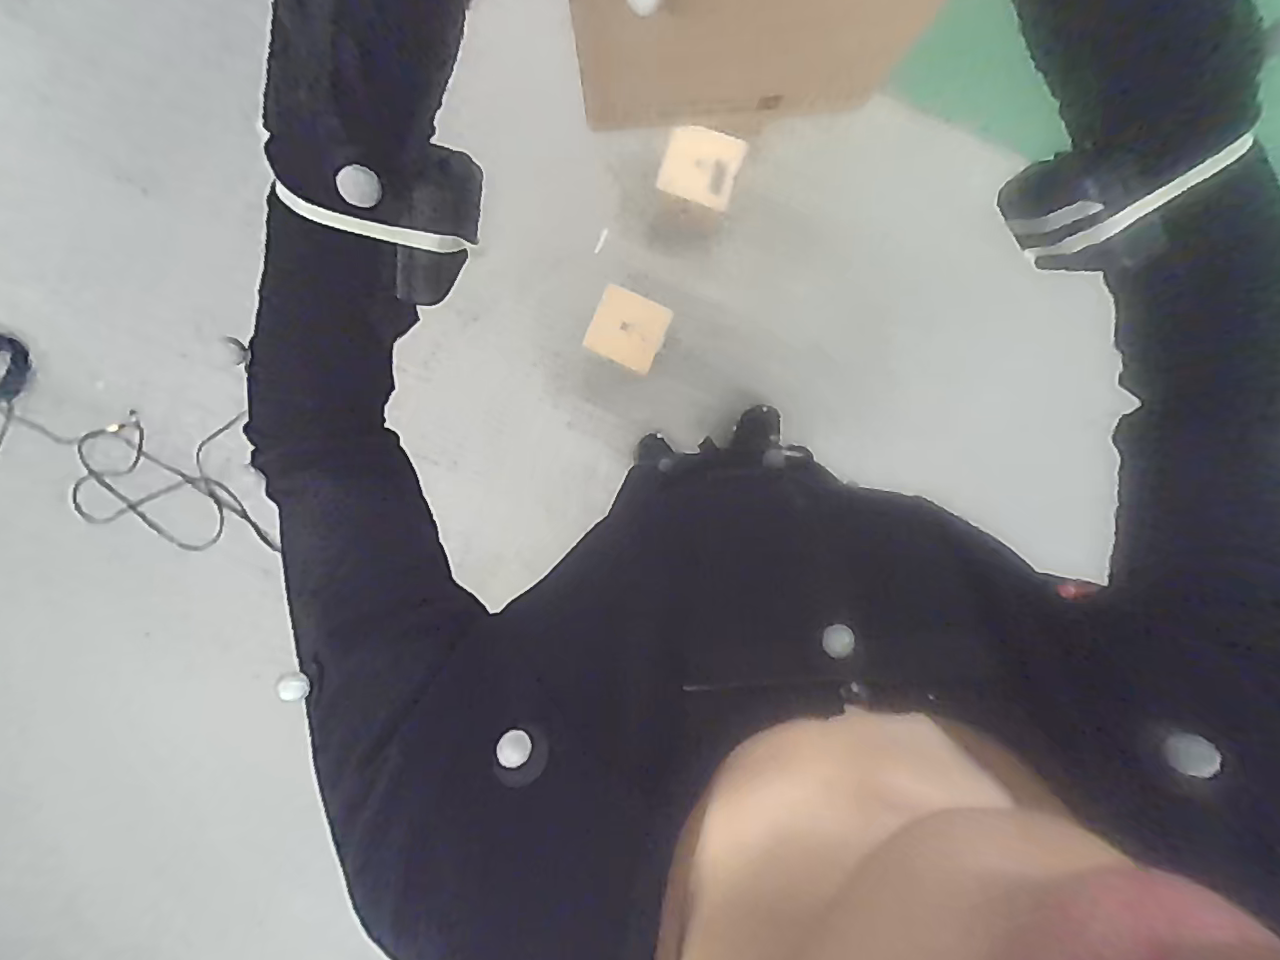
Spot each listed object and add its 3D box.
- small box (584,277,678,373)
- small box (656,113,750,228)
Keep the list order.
[{"bbox_3d":[-0.021,-0.377,1.354,0.179,0.176,0.168,24,97,-2],"label":"small box"},{"bbox_3d":[0.147,-0.741,1.319,0.179,0.176,0.168,19,95,0],"label":"small box"}]
